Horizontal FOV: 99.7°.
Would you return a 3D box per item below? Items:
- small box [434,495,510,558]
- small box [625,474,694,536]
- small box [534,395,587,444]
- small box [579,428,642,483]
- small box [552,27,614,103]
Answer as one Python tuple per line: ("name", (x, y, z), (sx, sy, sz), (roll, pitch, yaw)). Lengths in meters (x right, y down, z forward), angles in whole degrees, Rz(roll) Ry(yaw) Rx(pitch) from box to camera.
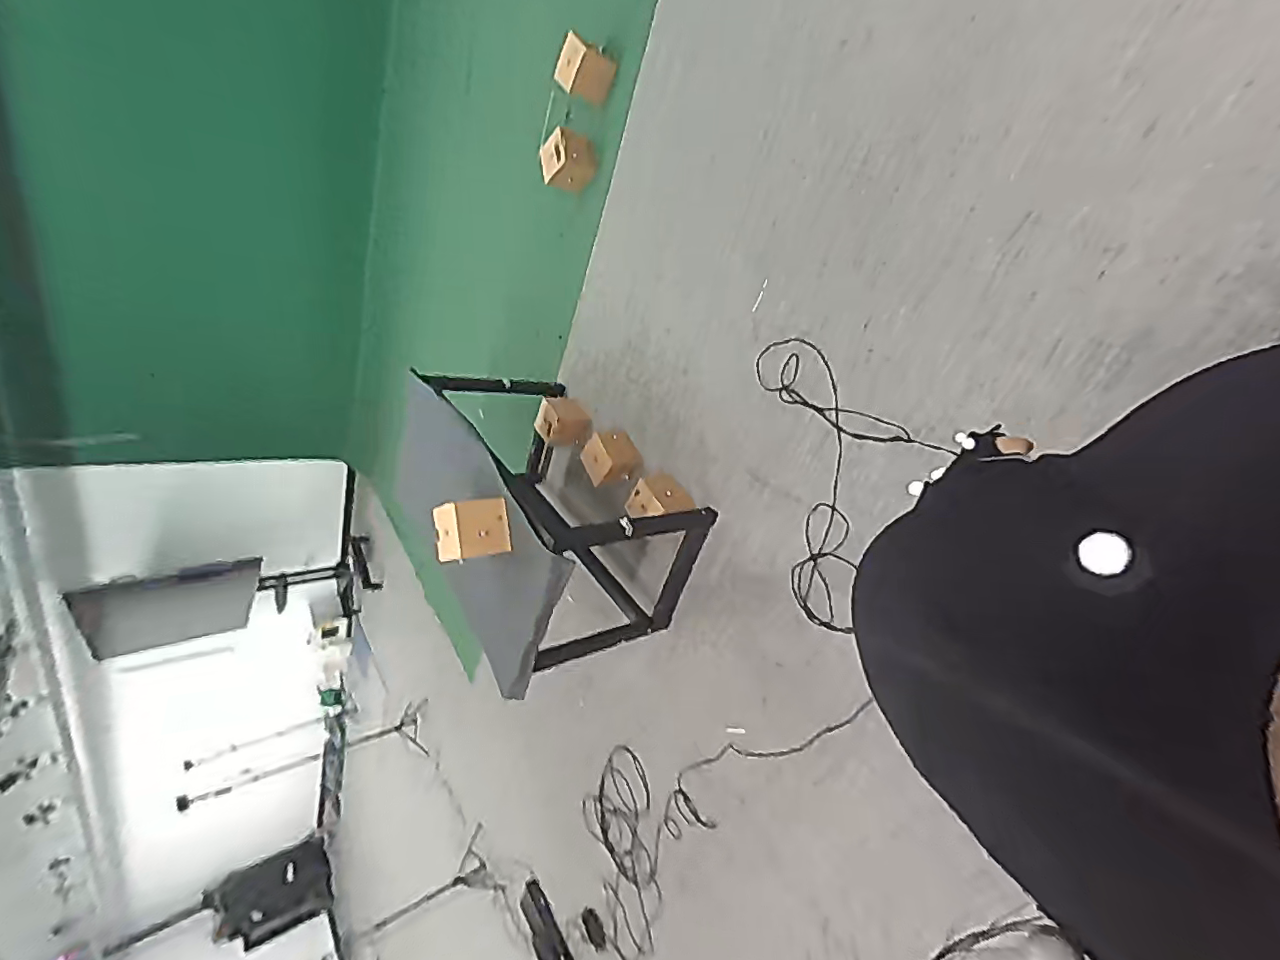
("small box", (-0.517, 0.144, 1.680), (0.179, 0.176, 0.168), (-16, 82, 48))
("small box", (0.077, 0.089, 2.104), (0.179, 0.176, 0.168), (53, 129, 30))
("small box", (-0.377, -0.288, 2.571), (0.179, 0.176, 0.168), (48, 126, 35))
("small box", (-0.124, -0.106, 2.309), (0.168, 0.176, 0.179), (-51, 59, 39))
("small box", (-0.236, -1.734, 2.271), (0.179, 0.176, 0.168), (-52, 58, 37))
